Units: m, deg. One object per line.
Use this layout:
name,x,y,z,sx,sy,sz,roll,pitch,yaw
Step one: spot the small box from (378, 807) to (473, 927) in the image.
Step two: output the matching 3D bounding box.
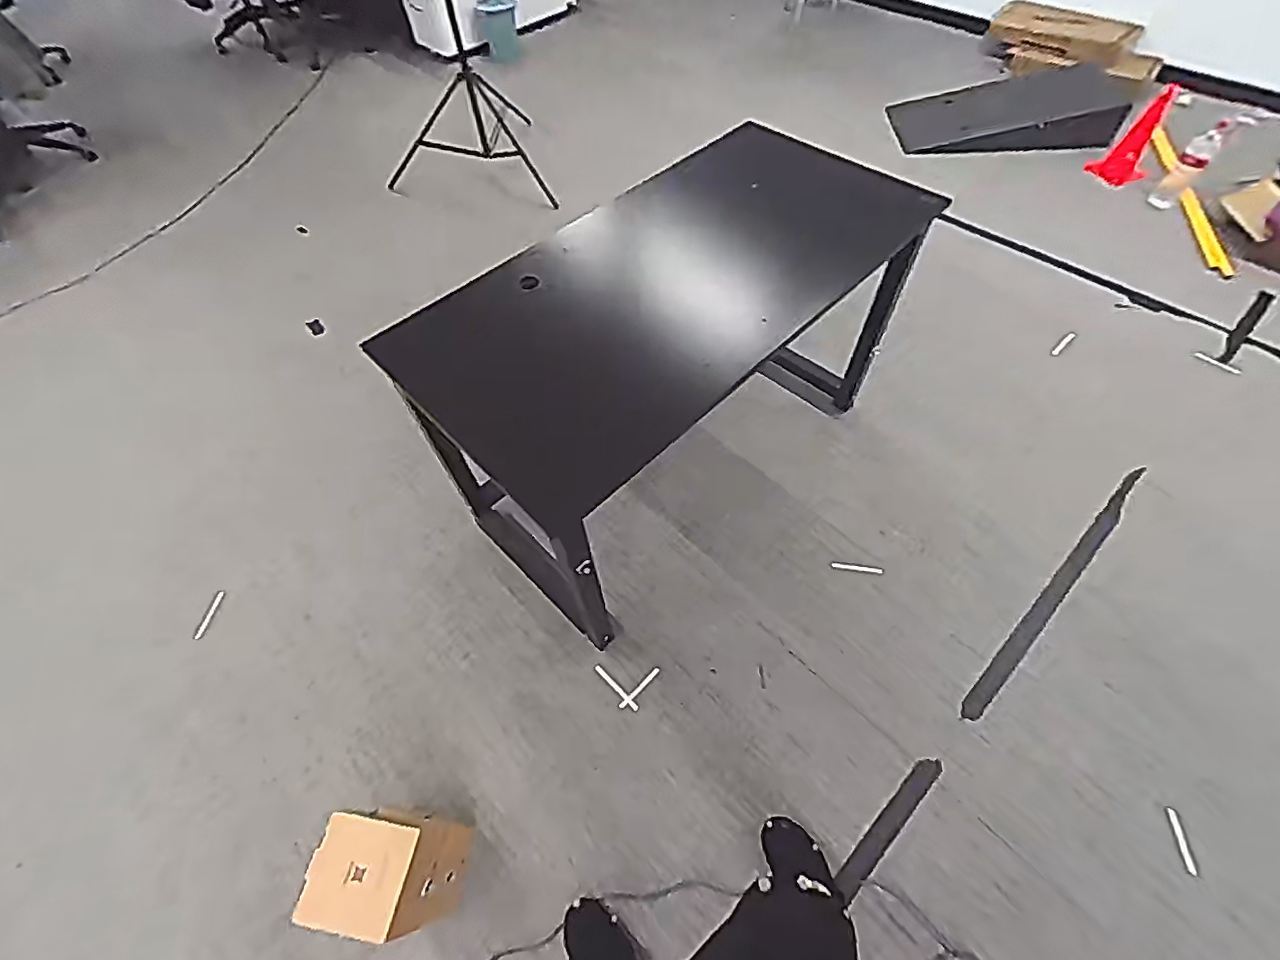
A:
small box,-0.483,0.816,1.155,0.179,0.176,0.168,10,58,10

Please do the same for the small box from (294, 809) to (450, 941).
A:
small box,-0.489,0.731,1.016,0.179,0.176,0.168,7,59,6
